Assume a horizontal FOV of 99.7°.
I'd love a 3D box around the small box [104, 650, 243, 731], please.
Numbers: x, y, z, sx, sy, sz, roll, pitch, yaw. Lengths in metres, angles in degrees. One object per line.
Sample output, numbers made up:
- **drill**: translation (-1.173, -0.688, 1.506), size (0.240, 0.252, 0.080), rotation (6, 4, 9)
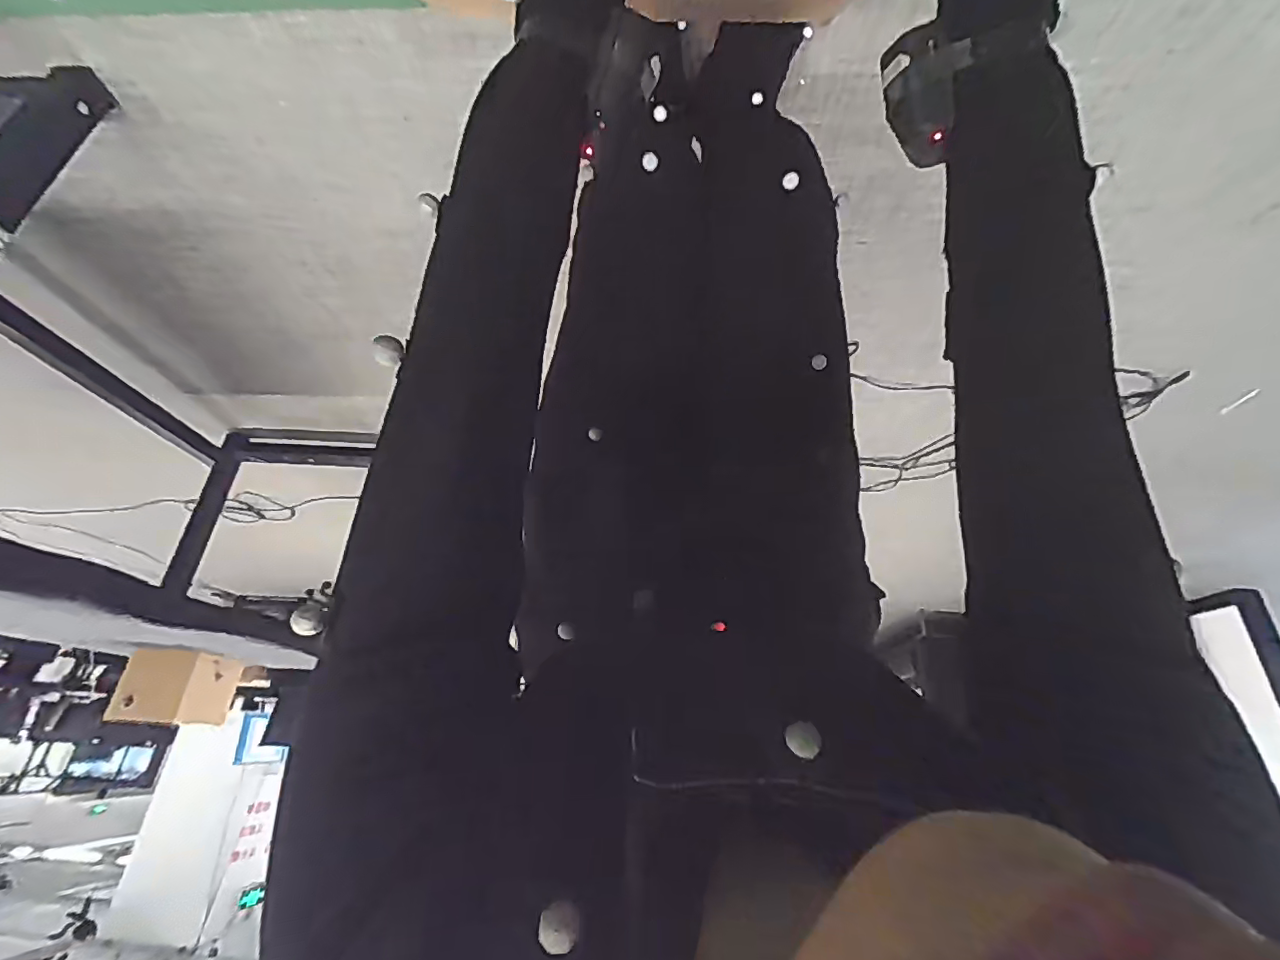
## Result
- **small box**: translation (-1.152, 0.525, 1.353), size (0.179, 0.176, 0.168), rotation (2, 154, 3)
